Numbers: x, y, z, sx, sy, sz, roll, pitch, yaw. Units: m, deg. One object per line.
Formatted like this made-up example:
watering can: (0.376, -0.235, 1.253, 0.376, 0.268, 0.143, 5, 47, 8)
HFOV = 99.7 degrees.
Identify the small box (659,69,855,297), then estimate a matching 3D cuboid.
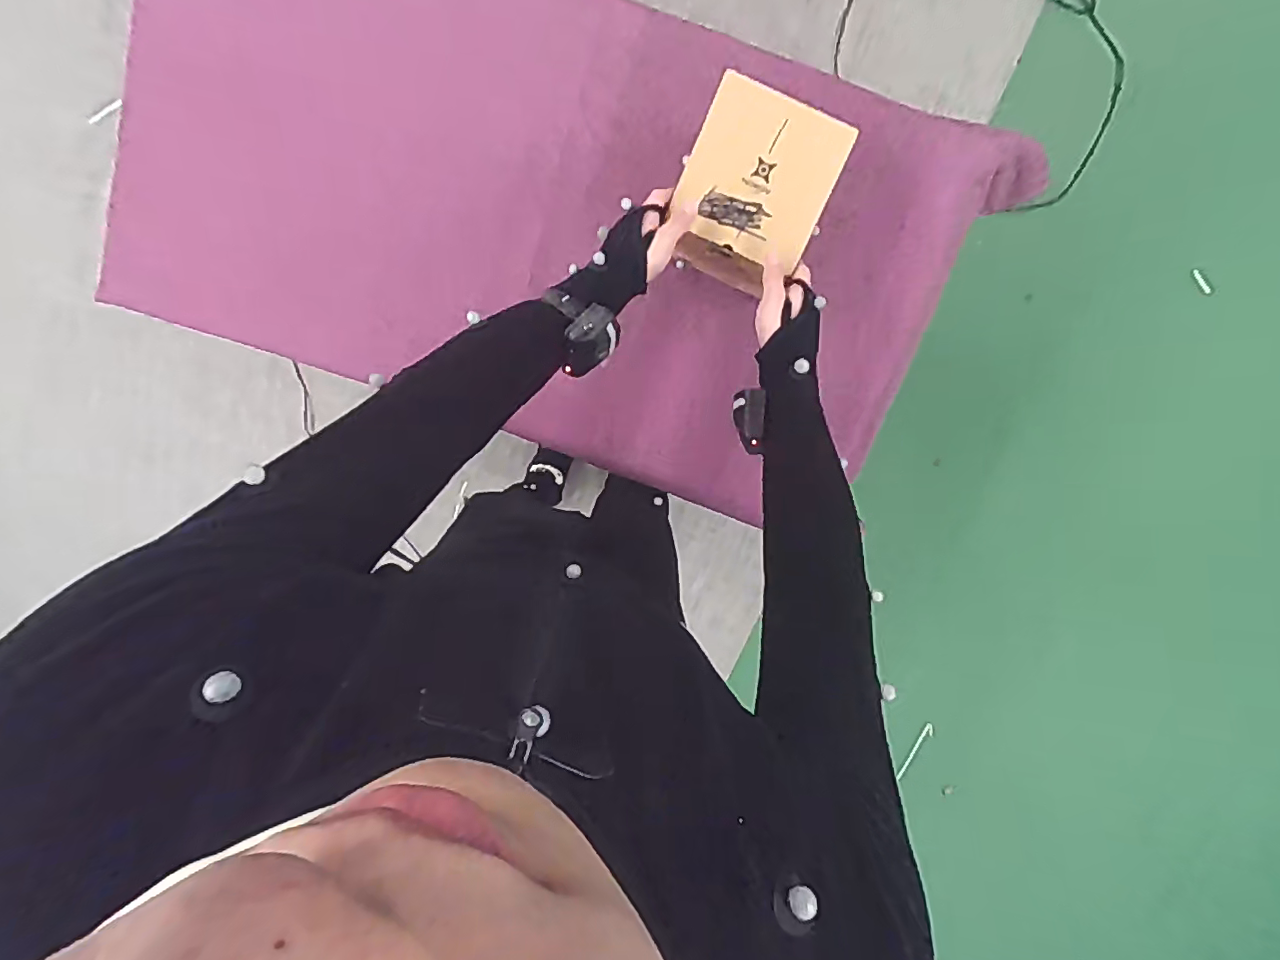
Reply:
small box: (0.136, -0.355, 0.688, 0.168, 0.176, 0.179, 24, 99, -2)

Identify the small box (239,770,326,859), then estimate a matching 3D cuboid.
small box: (-1.204, 1.126, 1.831, 0.179, 0.176, 0.168, 20, 103, -1)
